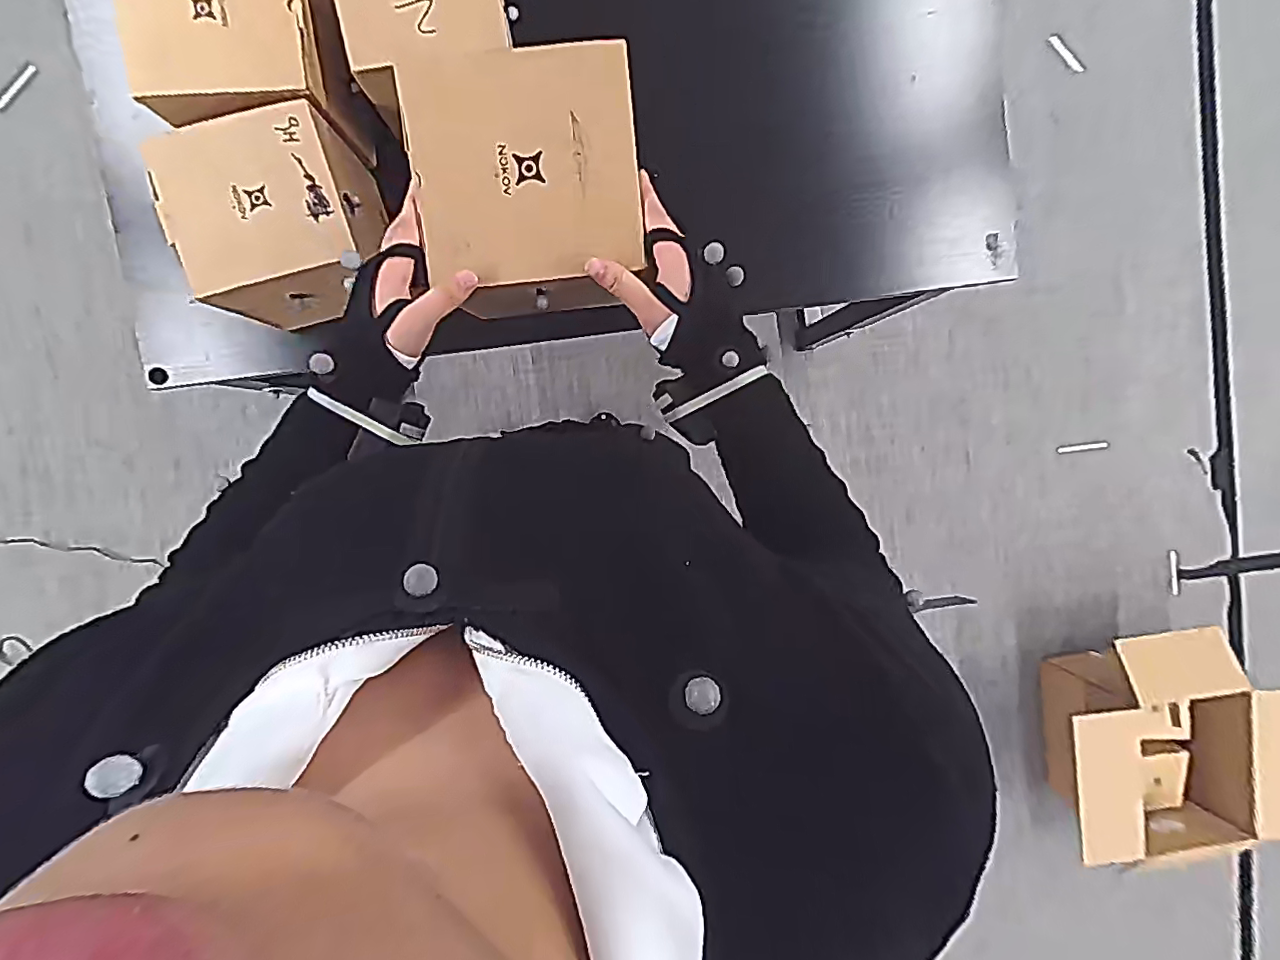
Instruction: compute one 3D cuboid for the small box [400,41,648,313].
[{"bbox_3d":[-0.089,-0.256,0.500,0.179,0.176,0.168,-7,101,-1],"label":"small box"}]
